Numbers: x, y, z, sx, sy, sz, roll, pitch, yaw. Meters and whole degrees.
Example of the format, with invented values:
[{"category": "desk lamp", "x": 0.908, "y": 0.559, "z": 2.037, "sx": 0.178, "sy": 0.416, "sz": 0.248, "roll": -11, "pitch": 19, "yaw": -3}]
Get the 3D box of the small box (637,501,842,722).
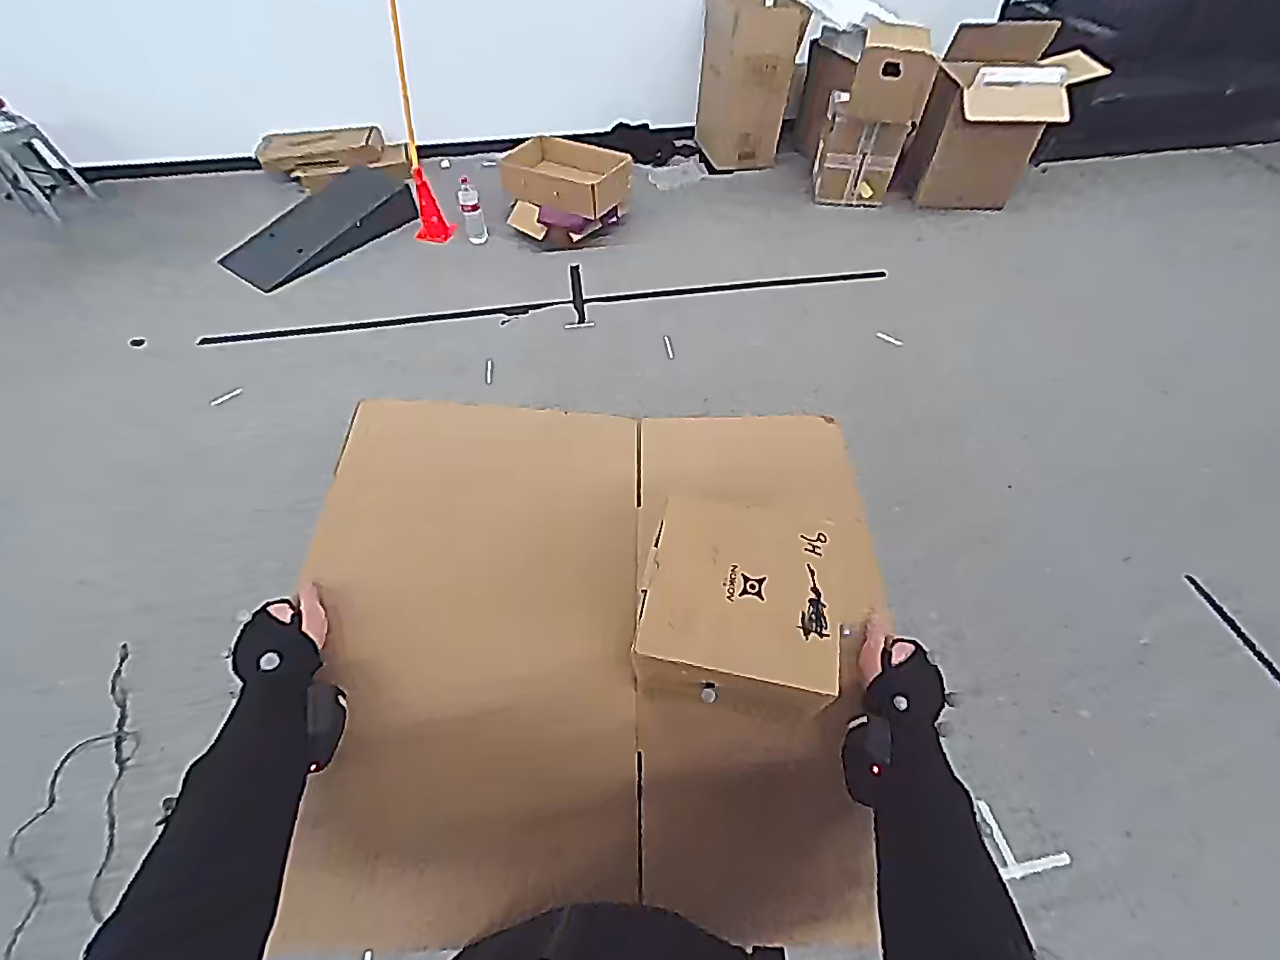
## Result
[{"category": "small box", "x": 0.104, "y": 0.144, "z": 0.573, "sx": 0.179, "sy": 0.176, "sz": 0.168, "roll": 8, "pitch": 58, "yaw": 10}]
